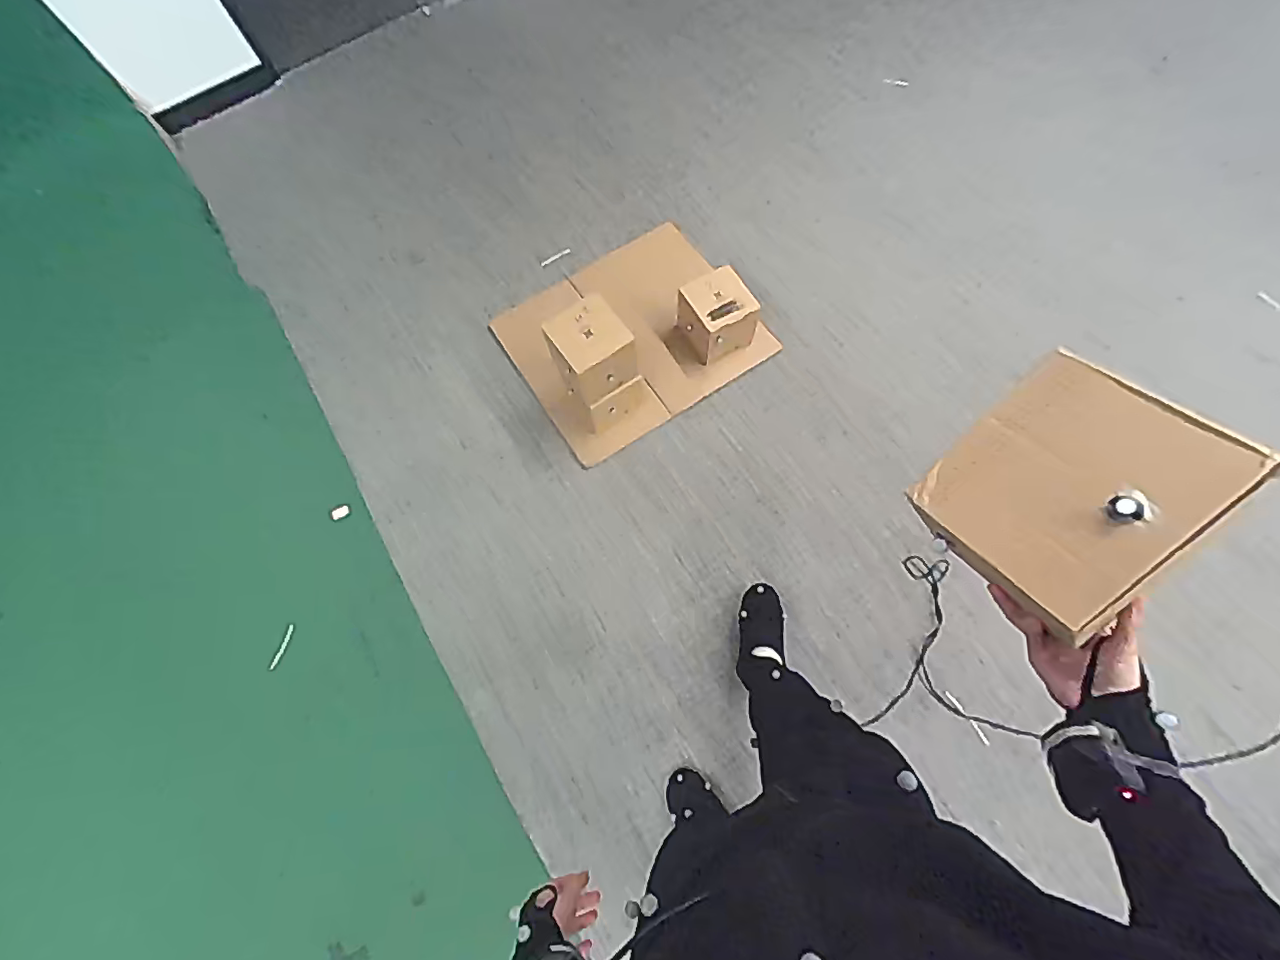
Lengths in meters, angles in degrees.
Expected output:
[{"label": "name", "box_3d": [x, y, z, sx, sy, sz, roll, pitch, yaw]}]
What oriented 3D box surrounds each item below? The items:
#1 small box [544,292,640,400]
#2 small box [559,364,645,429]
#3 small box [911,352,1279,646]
[{"label": "small box", "box_3d": [-0.113, -0.324, 1.356, 0.168, 0.176, 0.179, -33, 71, -9]}, {"label": "small box", "box_3d": [-0.098, -0.265, 1.509, 0.168, 0.176, 0.179, -34, 71, -9]}, {"label": "small box", "box_3d": [0.382, 0.019, 0.481, 0.179, 0.168, 0.176, -47, 50, 12]}]
